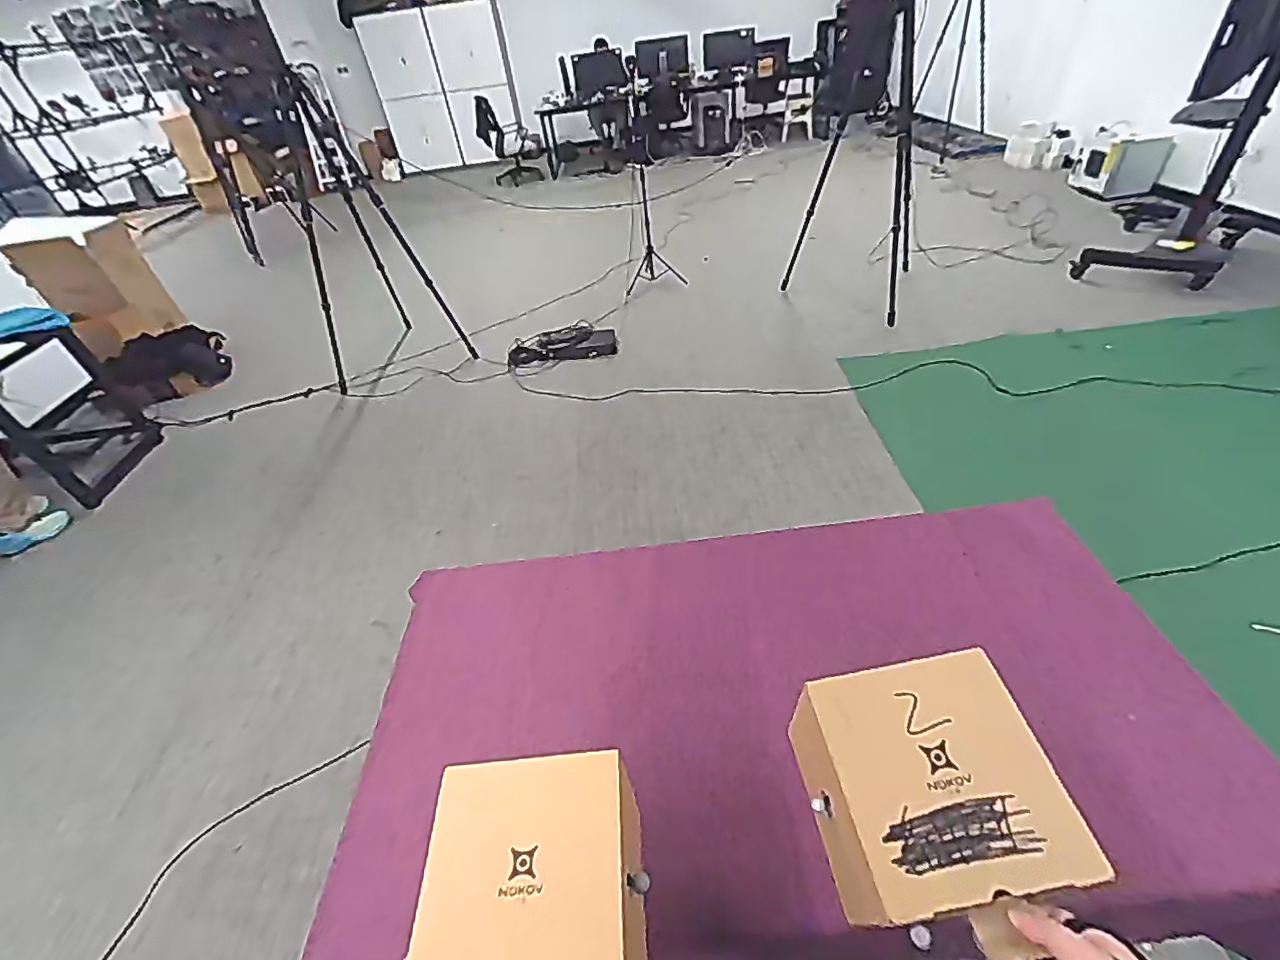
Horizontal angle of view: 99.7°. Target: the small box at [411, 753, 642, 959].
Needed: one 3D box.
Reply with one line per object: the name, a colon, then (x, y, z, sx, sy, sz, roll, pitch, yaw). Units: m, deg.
small box: (-0.089, 0.384, 0.505, 0.168, 0.176, 0.179, -7, 43, 2)
